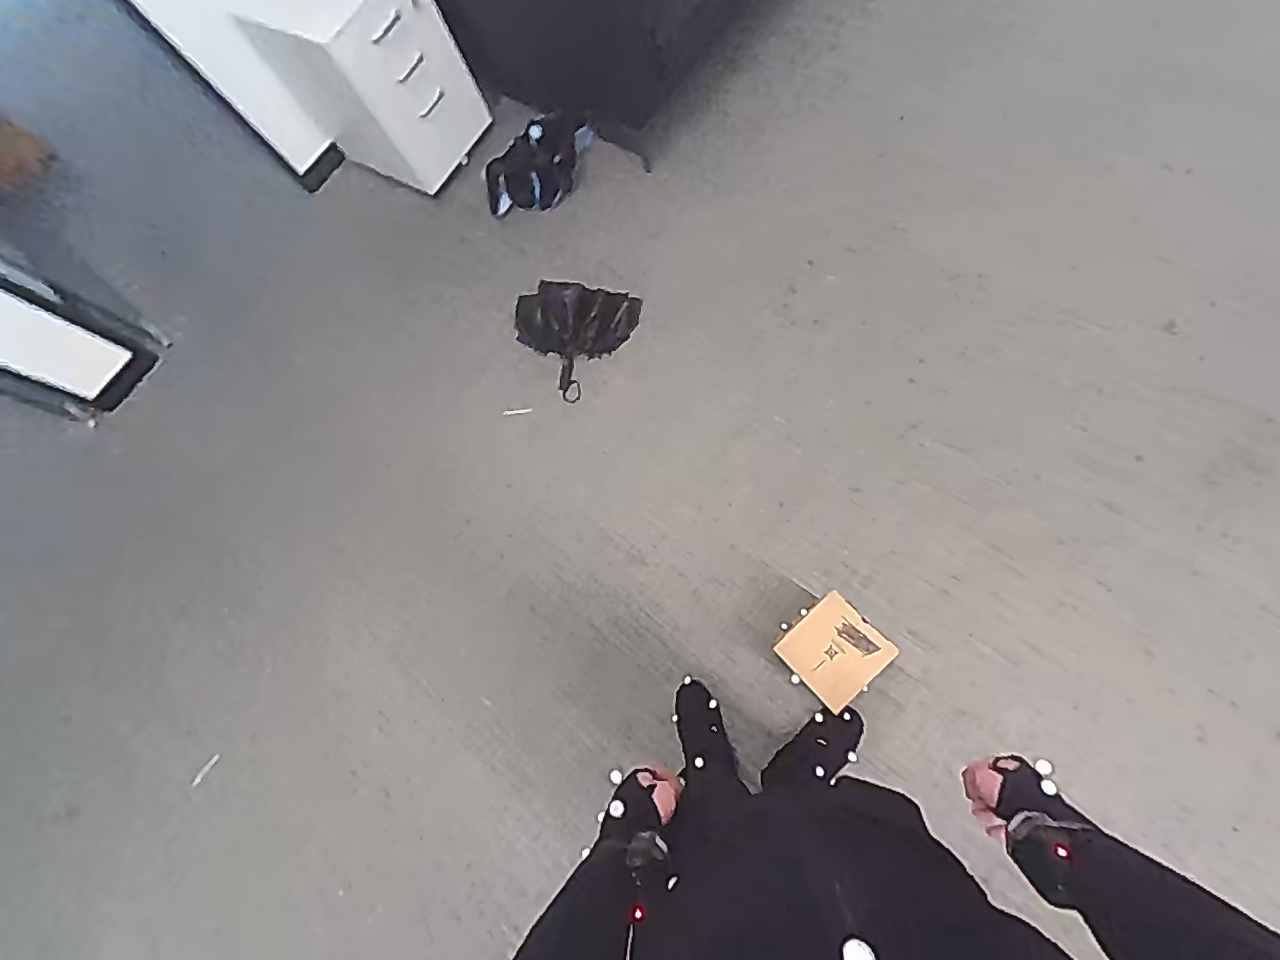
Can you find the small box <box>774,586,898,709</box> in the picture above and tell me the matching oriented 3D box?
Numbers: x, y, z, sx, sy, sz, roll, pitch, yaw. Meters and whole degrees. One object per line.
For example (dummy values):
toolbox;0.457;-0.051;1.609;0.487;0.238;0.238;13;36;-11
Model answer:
small box;0.397;0.346;1.130;0.179;0.176;0.168;-43;68;-1
